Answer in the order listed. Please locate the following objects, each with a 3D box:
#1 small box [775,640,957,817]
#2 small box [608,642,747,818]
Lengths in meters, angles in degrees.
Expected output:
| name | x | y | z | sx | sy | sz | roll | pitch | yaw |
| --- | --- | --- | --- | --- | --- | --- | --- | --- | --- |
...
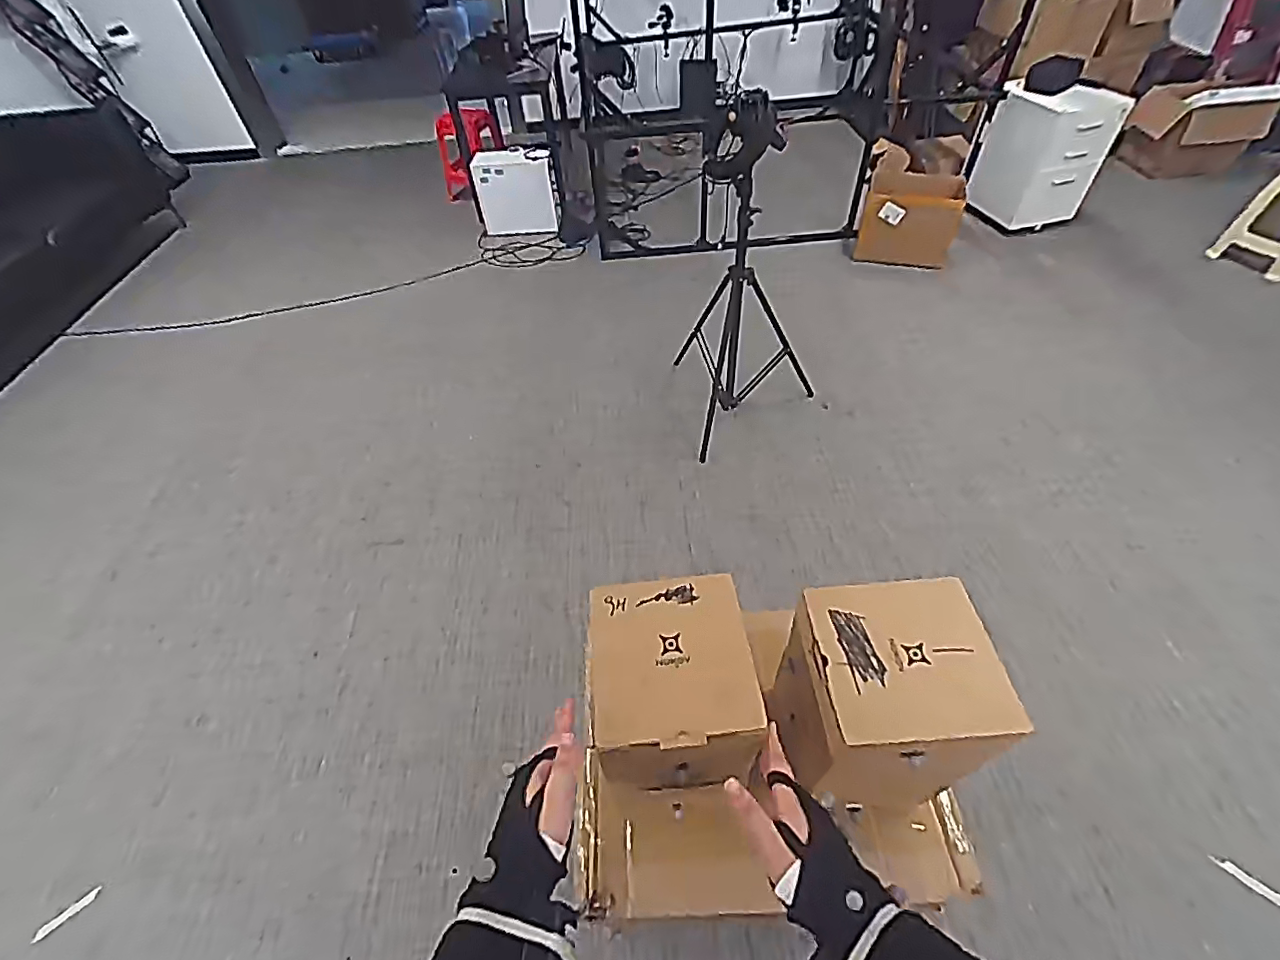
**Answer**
| name | x | y | z | sx | sy | sz | roll | pitch | yaw |
| --- | --- | --- | --- | --- | --- | --- | --- | --- | --- |
| small box | 0.286 | 0.339 | 0.737 | 0.168 | 0.176 | 0.179 | -6 | 50 | 3 |
| small box | 0.043 | 0.346 | 0.749 | 0.168 | 0.176 | 0.179 | -5 | 49 | -1 |
